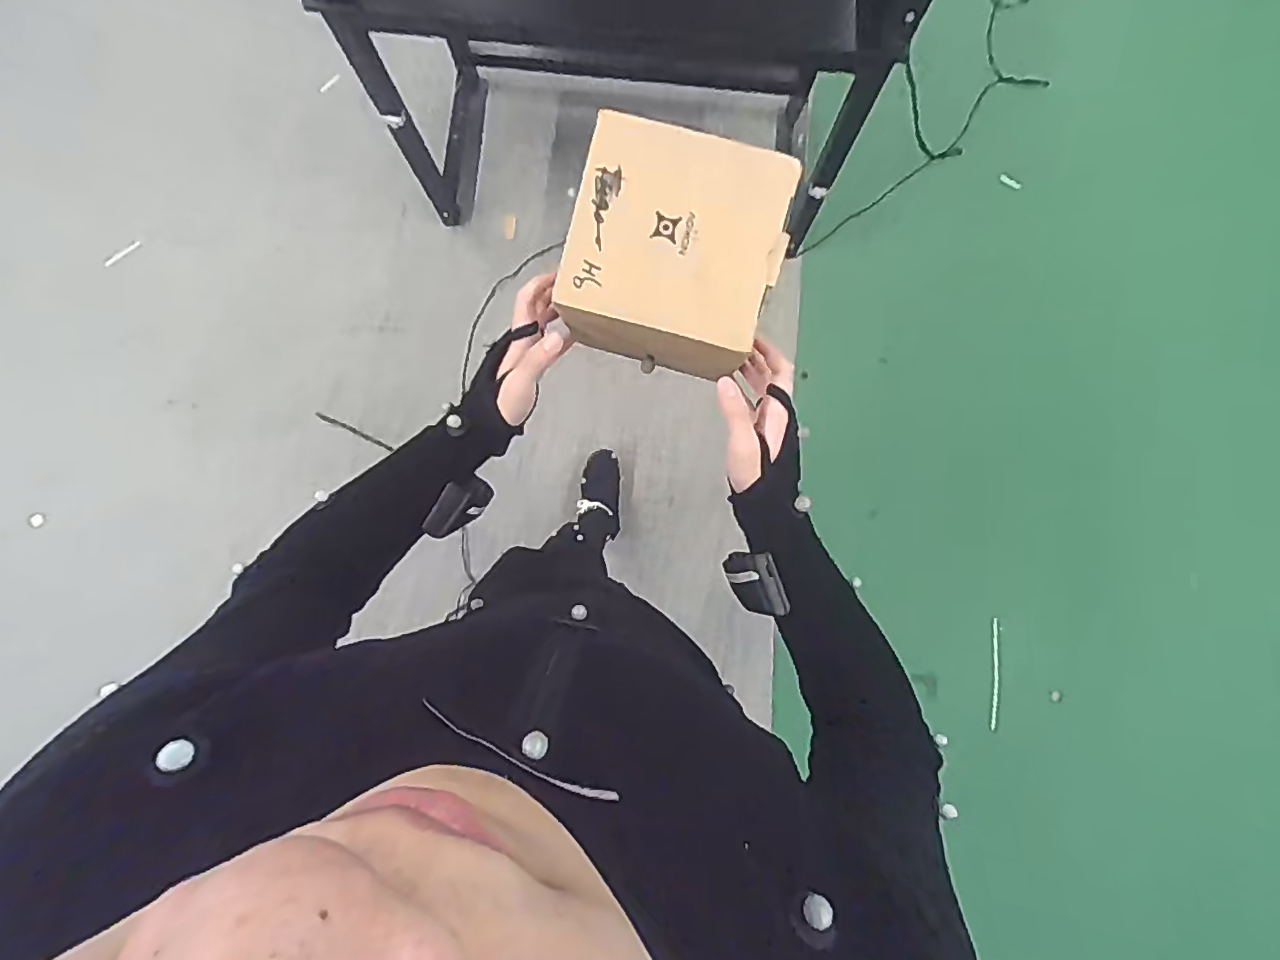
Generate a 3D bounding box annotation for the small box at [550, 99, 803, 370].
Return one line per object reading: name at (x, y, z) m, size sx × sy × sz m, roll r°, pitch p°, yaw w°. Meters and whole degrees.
small box at (0.030, -0.214, 0.525) m, size 0.179 × 0.176 × 0.168 m, roll 16°, pitch 92°, yaw 0°
